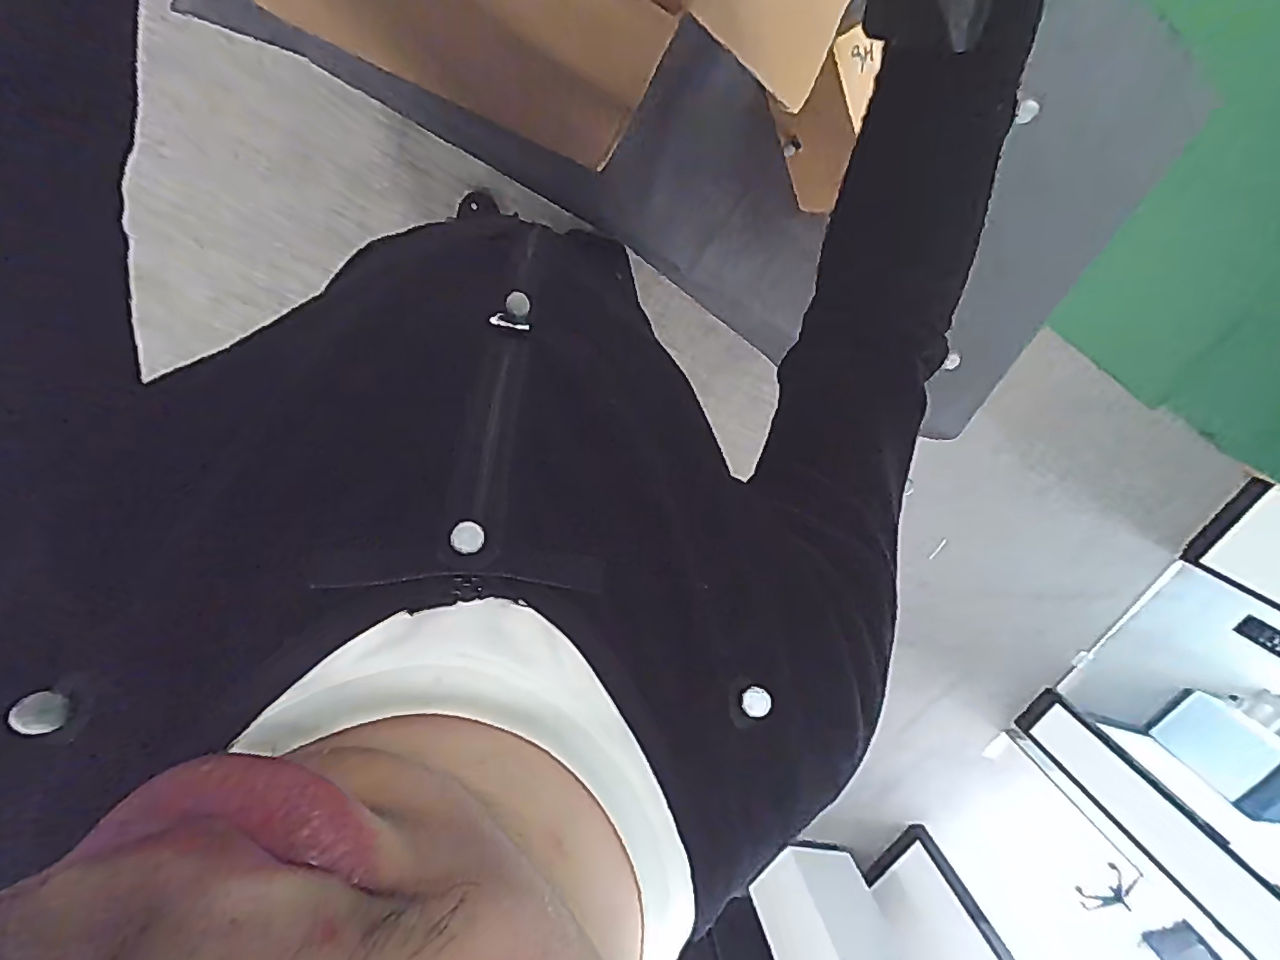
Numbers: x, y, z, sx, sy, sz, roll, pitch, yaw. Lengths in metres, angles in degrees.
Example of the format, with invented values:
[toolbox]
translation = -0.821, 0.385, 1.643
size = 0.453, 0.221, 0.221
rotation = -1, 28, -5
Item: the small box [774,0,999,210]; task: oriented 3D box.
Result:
[small box]
translation = 0.285, -0.451, 0.642
size = 0.168, 0.176, 0.179
rotation = -28, 121, 3
